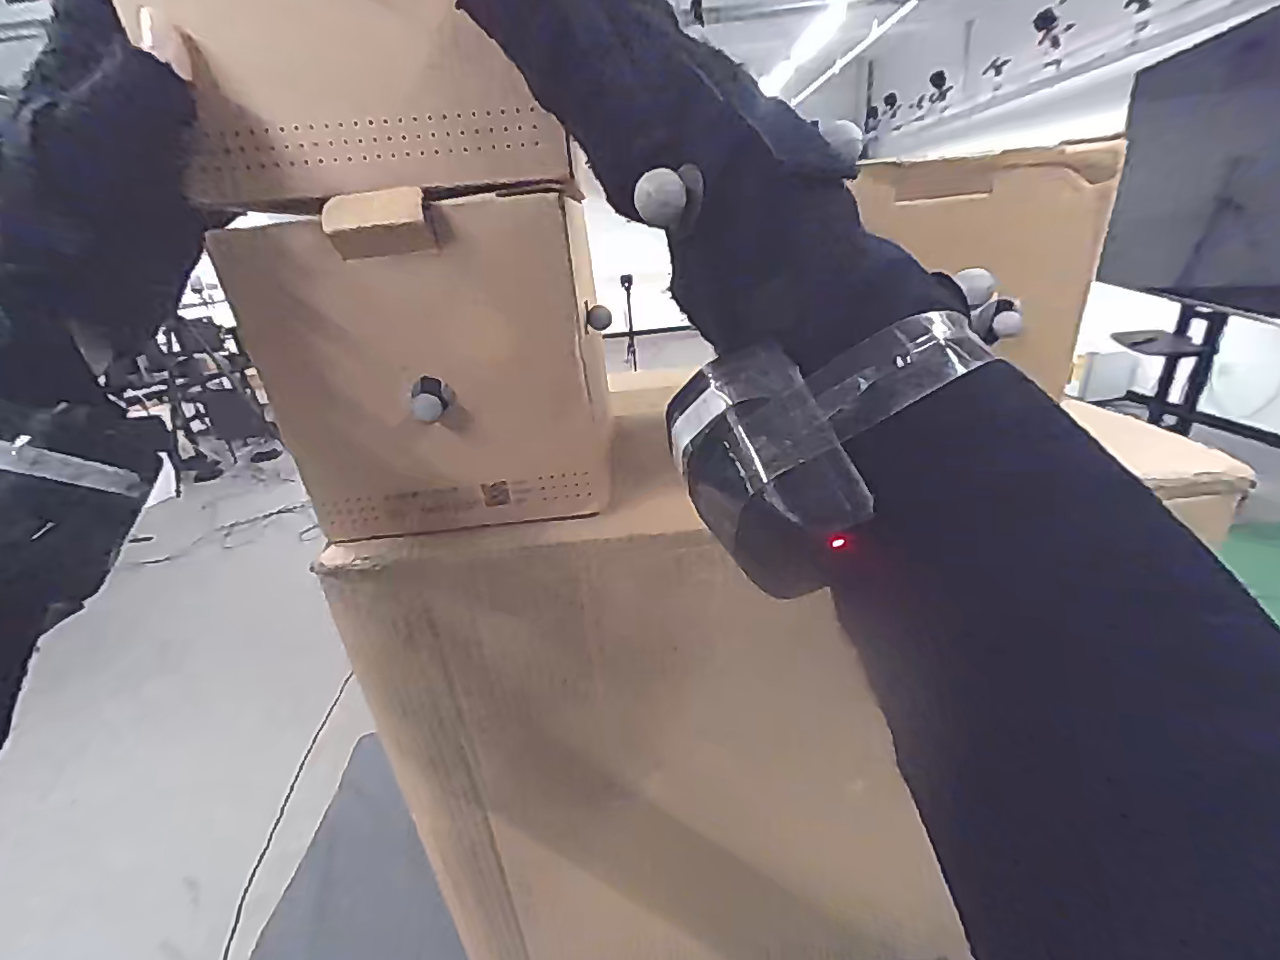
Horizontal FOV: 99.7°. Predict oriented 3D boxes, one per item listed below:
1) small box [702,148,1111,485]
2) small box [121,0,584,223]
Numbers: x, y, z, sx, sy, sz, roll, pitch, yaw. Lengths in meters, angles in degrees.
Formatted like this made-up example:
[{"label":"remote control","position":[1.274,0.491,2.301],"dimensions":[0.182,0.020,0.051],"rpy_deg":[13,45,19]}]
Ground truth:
[{"label":"small box","position":[0.133,-0.102,0.350],"dimensions":[0.168,0.176,0.179],"rpy_deg":[-3,25,-1]},{"label":"small box","position":[-0.126,-0.236,0.286],"dimensions":[0.179,0.176,0.168],"rpy_deg":[-5,24,0]}]
